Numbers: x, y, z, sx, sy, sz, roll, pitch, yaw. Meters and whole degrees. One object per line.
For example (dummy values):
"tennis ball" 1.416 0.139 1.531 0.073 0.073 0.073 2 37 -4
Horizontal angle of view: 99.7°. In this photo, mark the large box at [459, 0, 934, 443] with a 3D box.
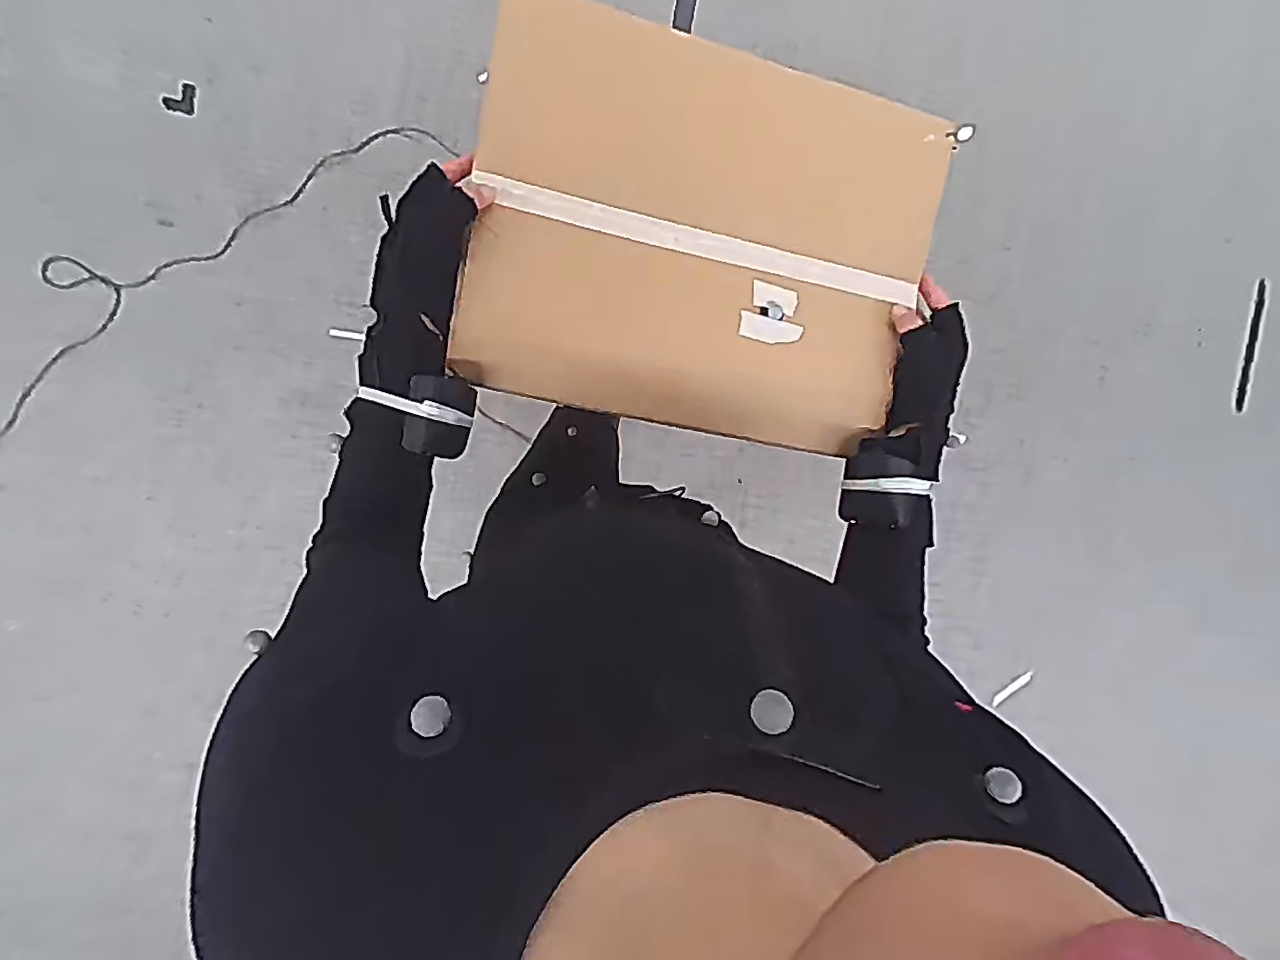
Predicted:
"large box" 0.033 -0.235 0.630 0.408 0.320 0.320 9 98 -11
